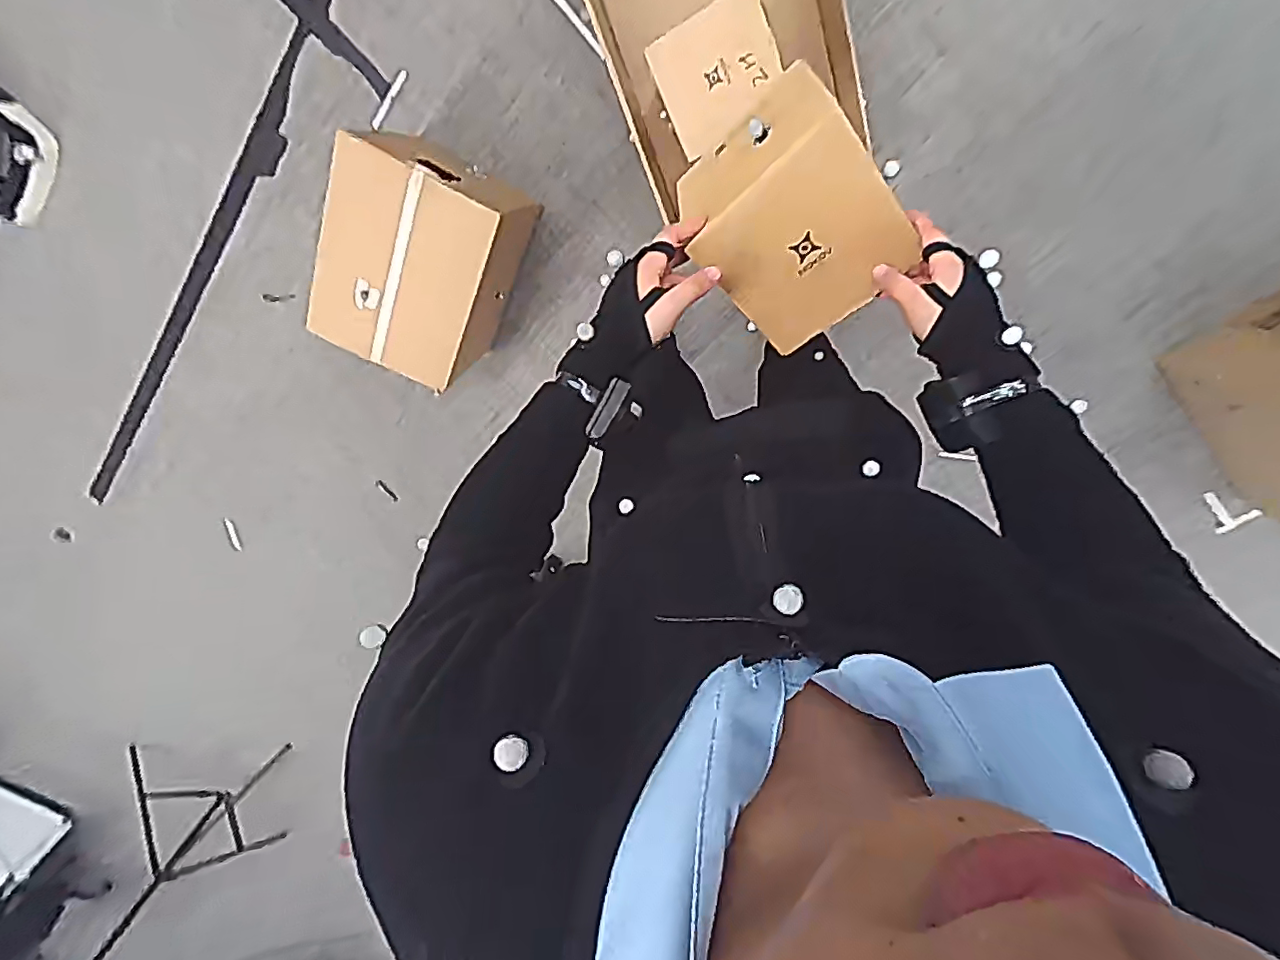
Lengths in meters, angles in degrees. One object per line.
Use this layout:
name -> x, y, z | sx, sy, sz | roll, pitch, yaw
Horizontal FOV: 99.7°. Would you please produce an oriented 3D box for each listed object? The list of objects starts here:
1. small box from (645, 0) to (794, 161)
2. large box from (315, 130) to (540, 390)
small box -> 0.128, -0.635, 0.861 | 0.179, 0.176, 0.168 | -21, 113, 17
large box -> -0.455, -0.485, 1.191 | 0.320, 0.320, 0.408 | 26, 121, -8
